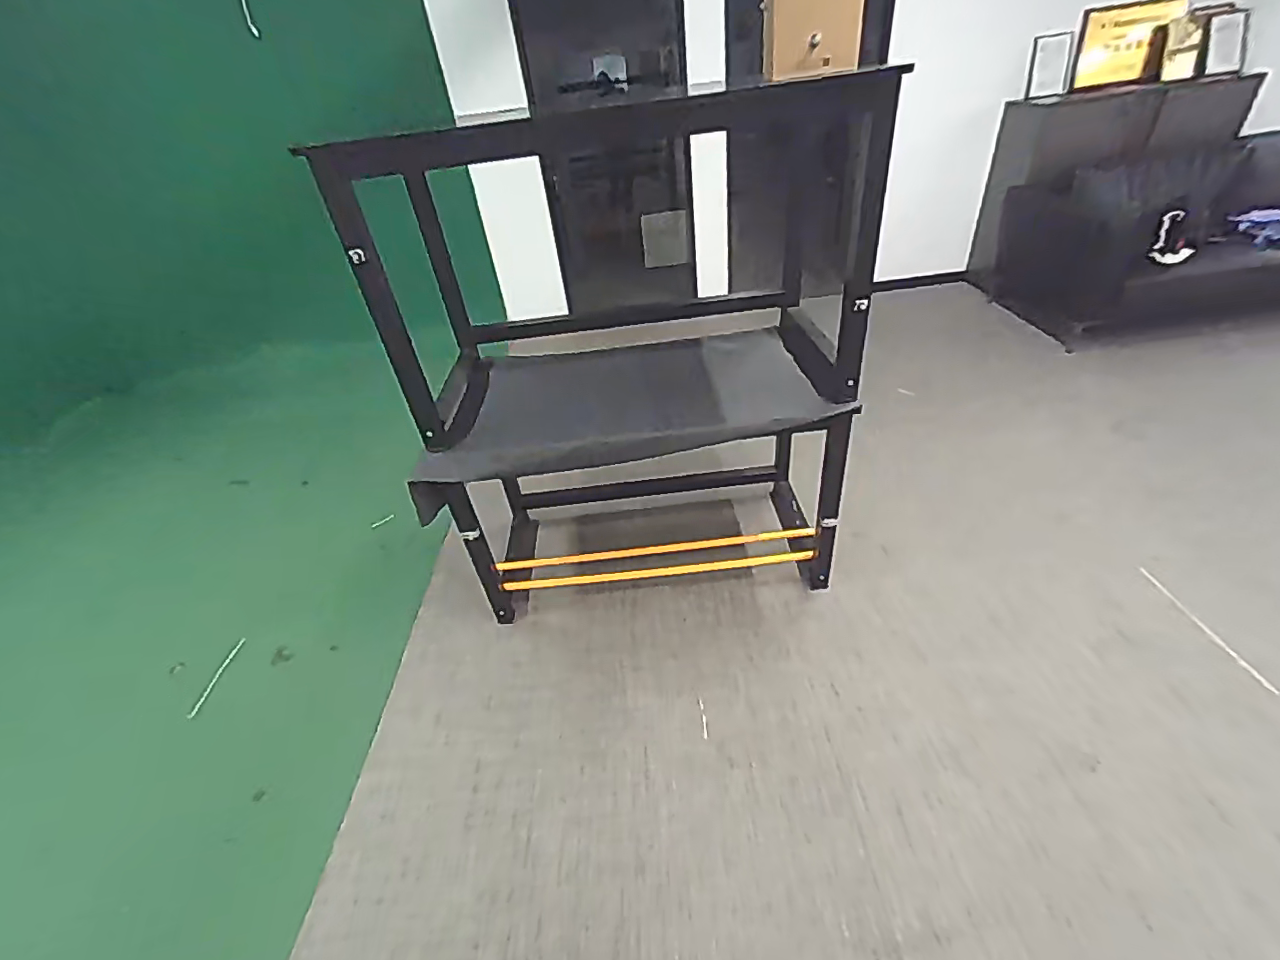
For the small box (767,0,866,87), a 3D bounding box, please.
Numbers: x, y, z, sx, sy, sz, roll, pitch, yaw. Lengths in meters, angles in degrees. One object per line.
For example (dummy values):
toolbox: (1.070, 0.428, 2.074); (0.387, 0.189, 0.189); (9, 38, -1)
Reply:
small box: (0.350, -0.911, 1.098); (0.168, 0.176, 0.179); (-3, 37, 8)
